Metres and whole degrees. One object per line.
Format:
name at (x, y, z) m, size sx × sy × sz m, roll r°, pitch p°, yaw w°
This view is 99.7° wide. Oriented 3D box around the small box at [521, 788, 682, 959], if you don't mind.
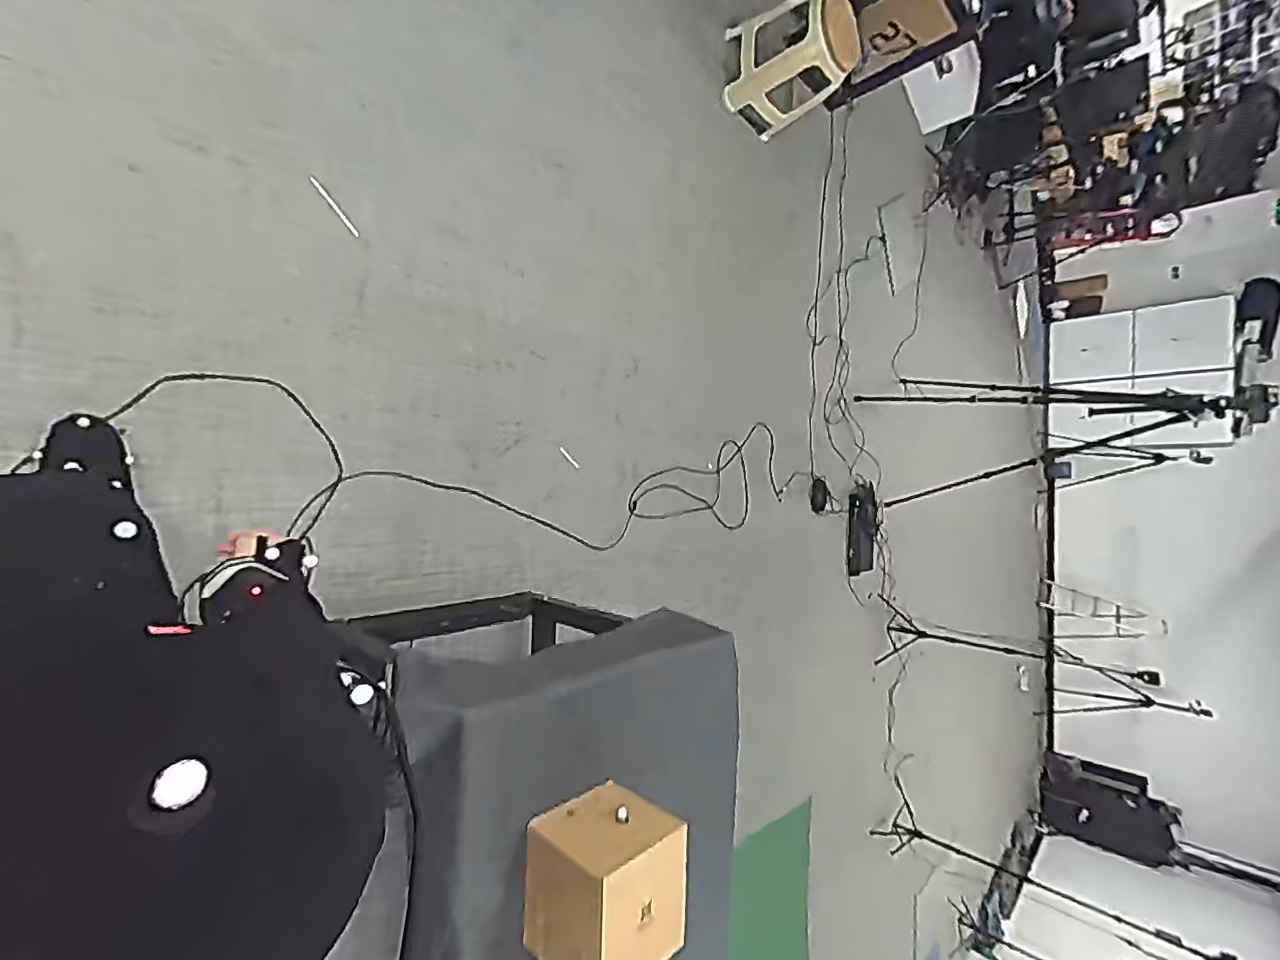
small box at (-0.057, 0.577, 0.781) m, size 0.168 × 0.176 × 0.179 m, roll 2°, pitch 90°, yaw -46°
